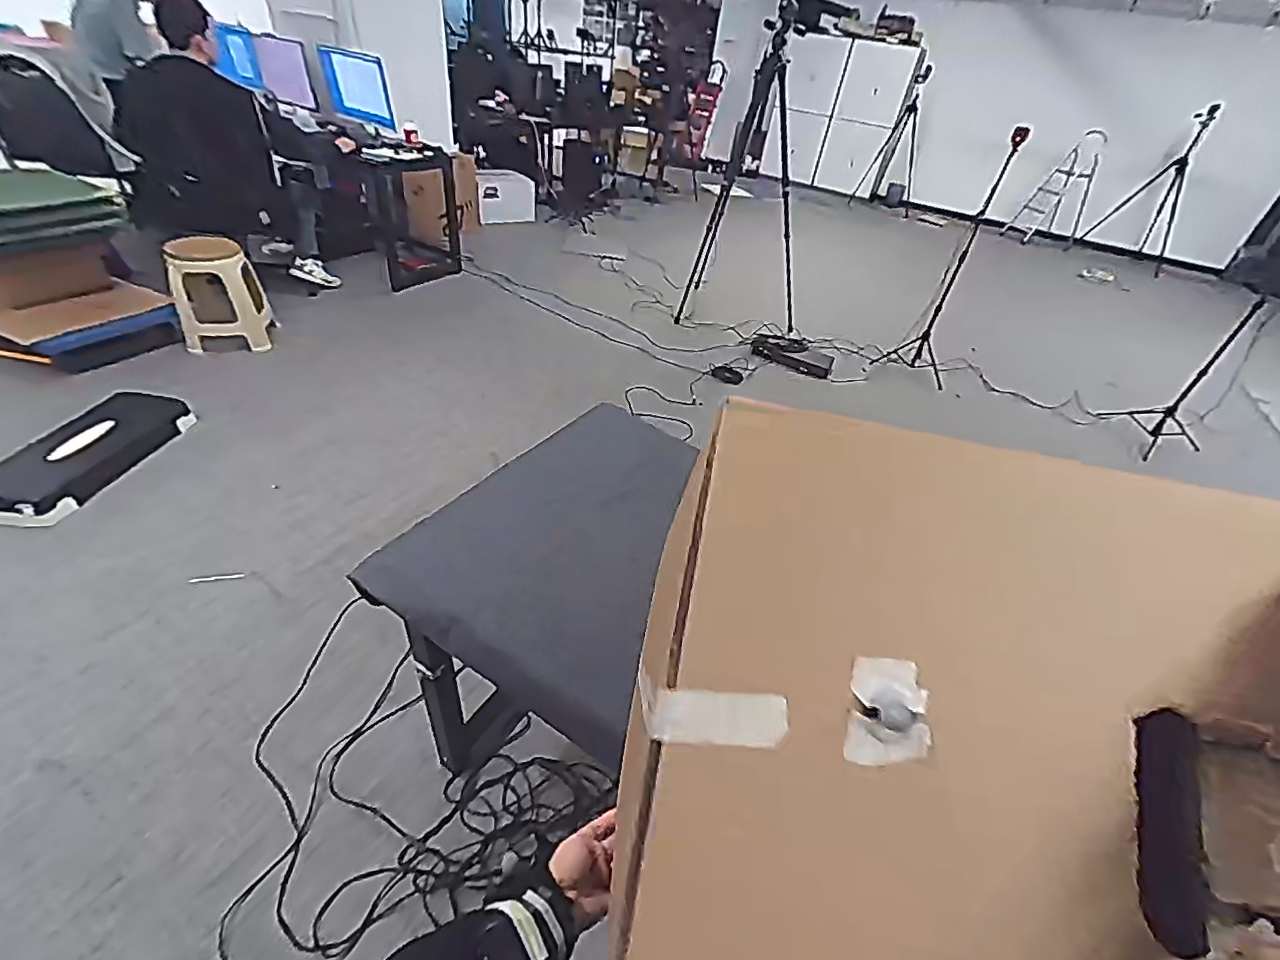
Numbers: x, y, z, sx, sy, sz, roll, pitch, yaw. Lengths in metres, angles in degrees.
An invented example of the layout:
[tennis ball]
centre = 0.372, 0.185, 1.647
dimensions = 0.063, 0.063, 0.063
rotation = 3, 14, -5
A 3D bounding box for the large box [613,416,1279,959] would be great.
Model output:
[large box]
centre = 0.154, 0.177, 0.430
dimensions = 0.320, 0.408, 0.320
rotation = 11, 75, 0
